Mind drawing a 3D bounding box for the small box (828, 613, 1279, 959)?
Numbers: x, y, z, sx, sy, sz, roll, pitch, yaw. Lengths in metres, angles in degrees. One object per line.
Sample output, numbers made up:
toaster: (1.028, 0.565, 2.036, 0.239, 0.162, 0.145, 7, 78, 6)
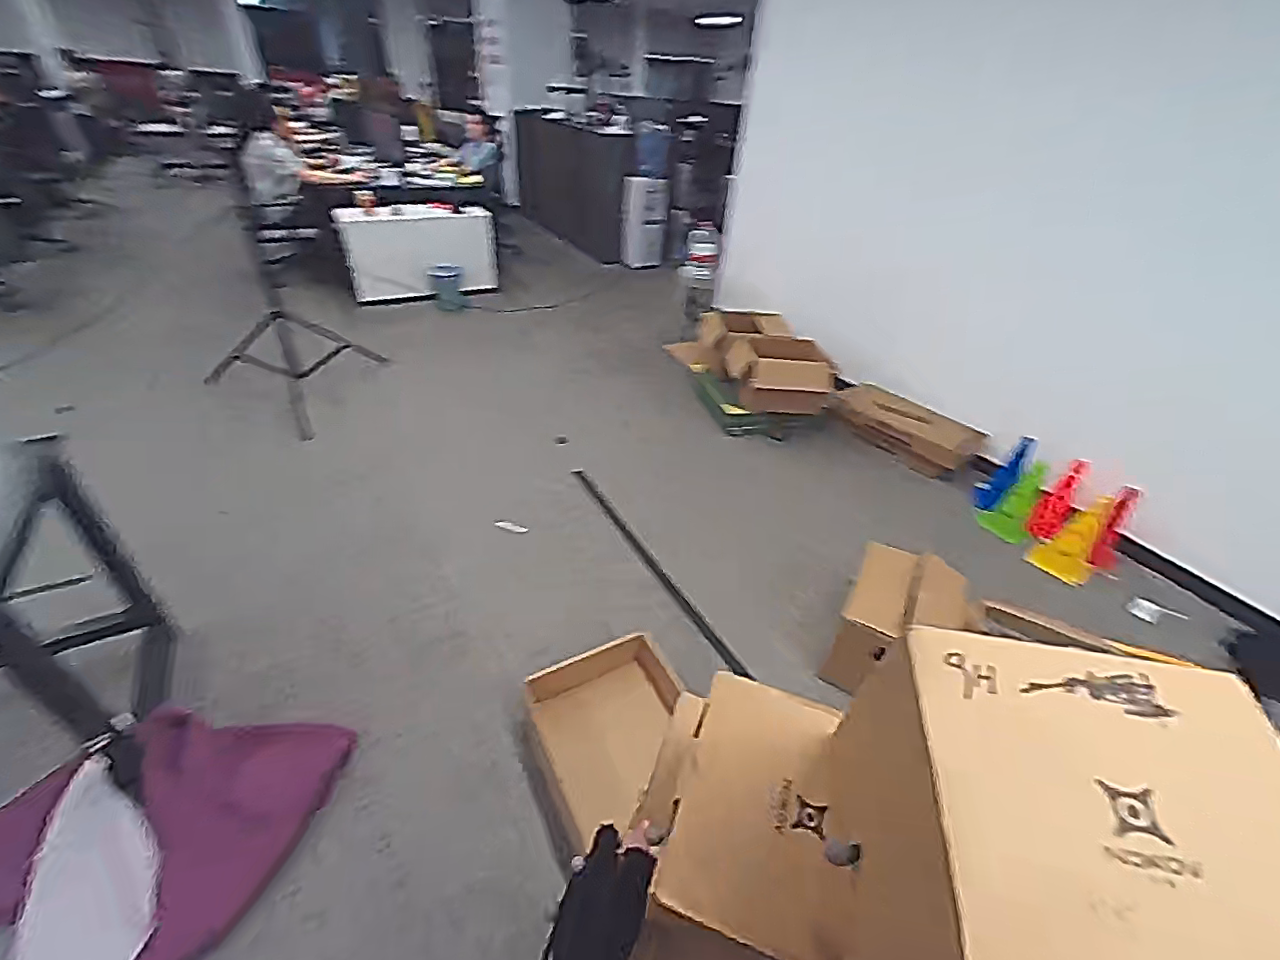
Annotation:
small box: (0.207, 0.201, 0.291, 0.168, 0.176, 0.179, 7, 46, 7)

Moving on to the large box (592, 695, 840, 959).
large box: (0.171, 0.495, 0.572, 0.408, 0.320, 0.320, 16, 48, 13)
